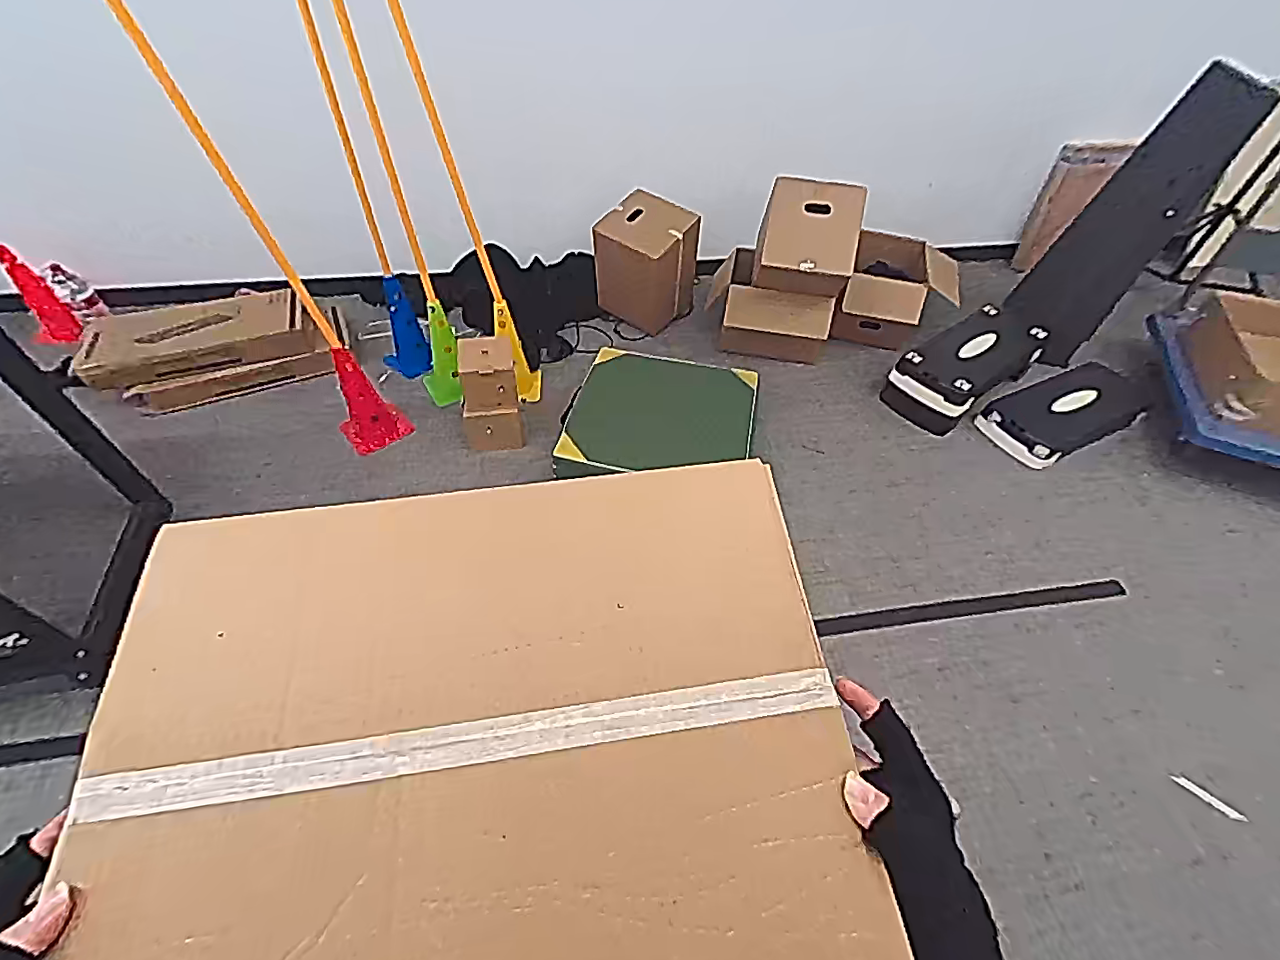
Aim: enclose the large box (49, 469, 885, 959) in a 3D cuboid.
[{"bbox_3d":[-0.095,0.217,0.439,0.408,0.320,0.320,-6,61,-4],"label":"large box"}]
